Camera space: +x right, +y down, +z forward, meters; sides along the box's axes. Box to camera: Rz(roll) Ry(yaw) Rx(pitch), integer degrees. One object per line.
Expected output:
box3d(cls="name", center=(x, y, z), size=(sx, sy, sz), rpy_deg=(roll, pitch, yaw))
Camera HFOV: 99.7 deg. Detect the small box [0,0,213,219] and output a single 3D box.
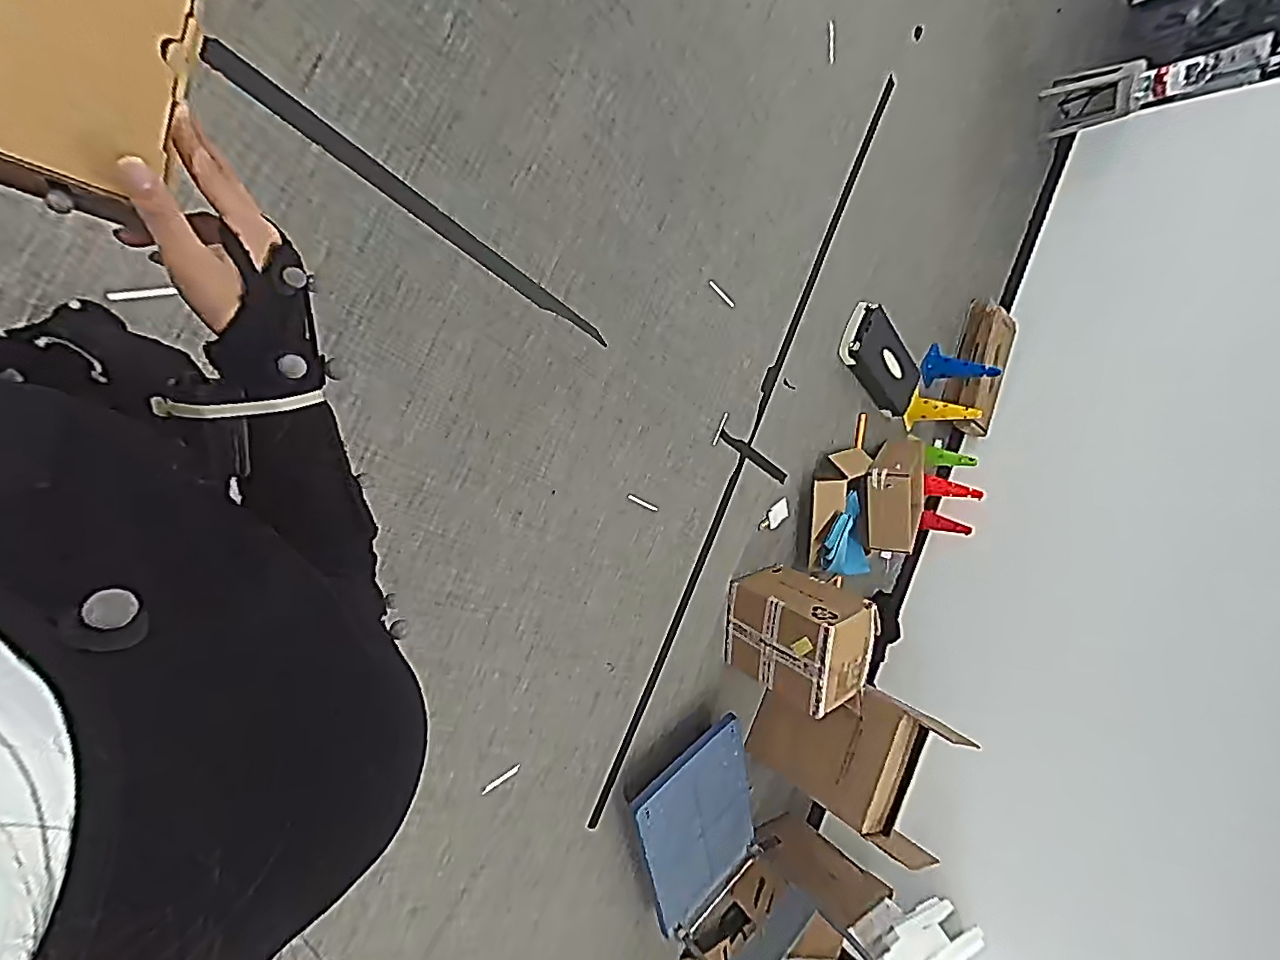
box3d(cls="small box", center=(-0.356, -0.263, 0.294), size=(0.179, 0.176, 0.168), rpy_deg=(11, 97, -44))
